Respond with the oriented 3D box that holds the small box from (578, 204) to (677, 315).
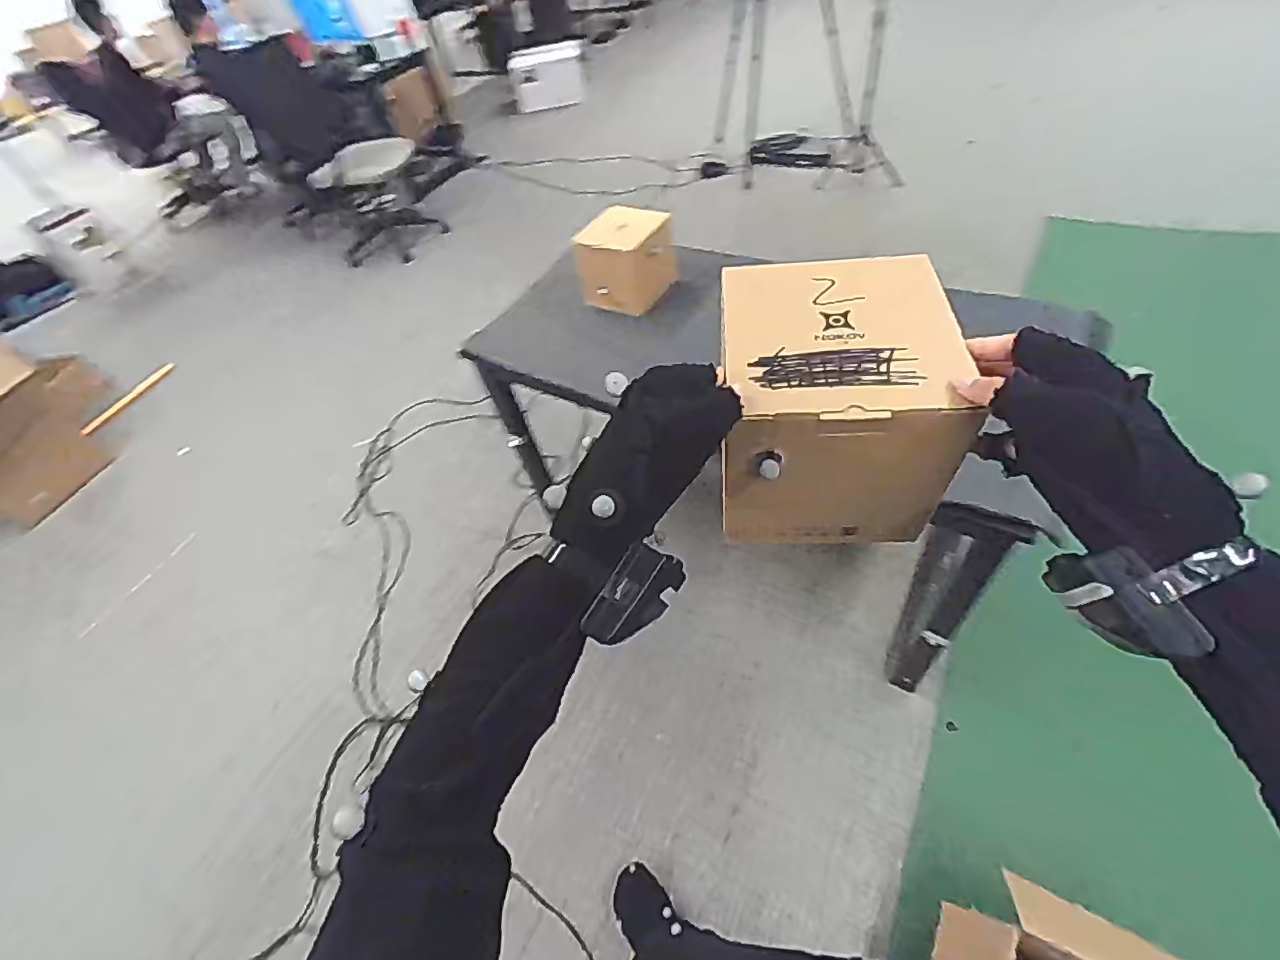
[{"bbox_3d":[-0.021,-0.528,1.295,0.168,0.176,0.179,22,59,26],"label":"small box"}]
